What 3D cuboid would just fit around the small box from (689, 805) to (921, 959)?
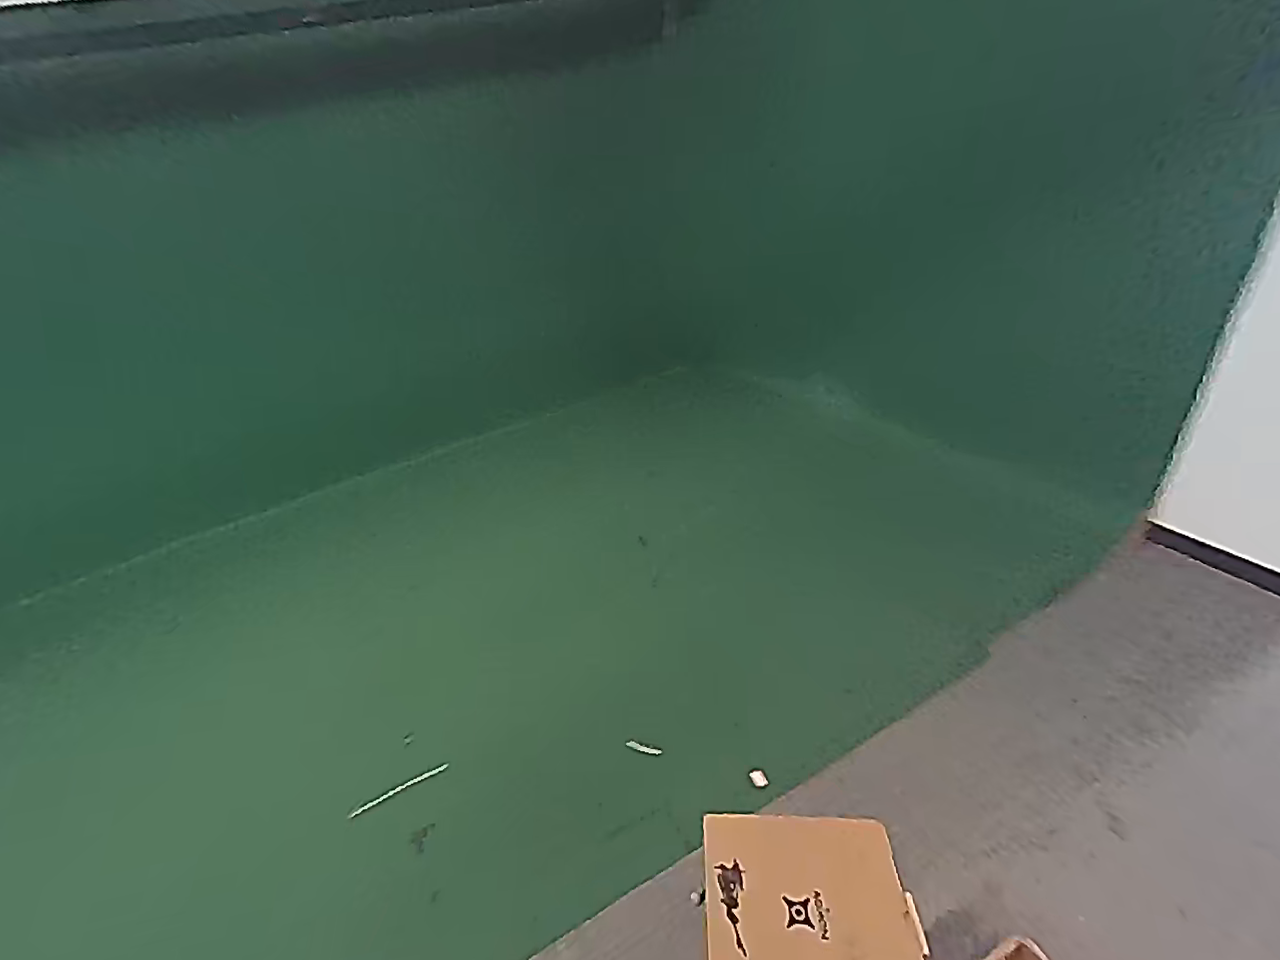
[{"bbox_3d":[0.136,0.432,0.492,0.179,0.176,0.168,0,27,4],"label":"small box"}]
